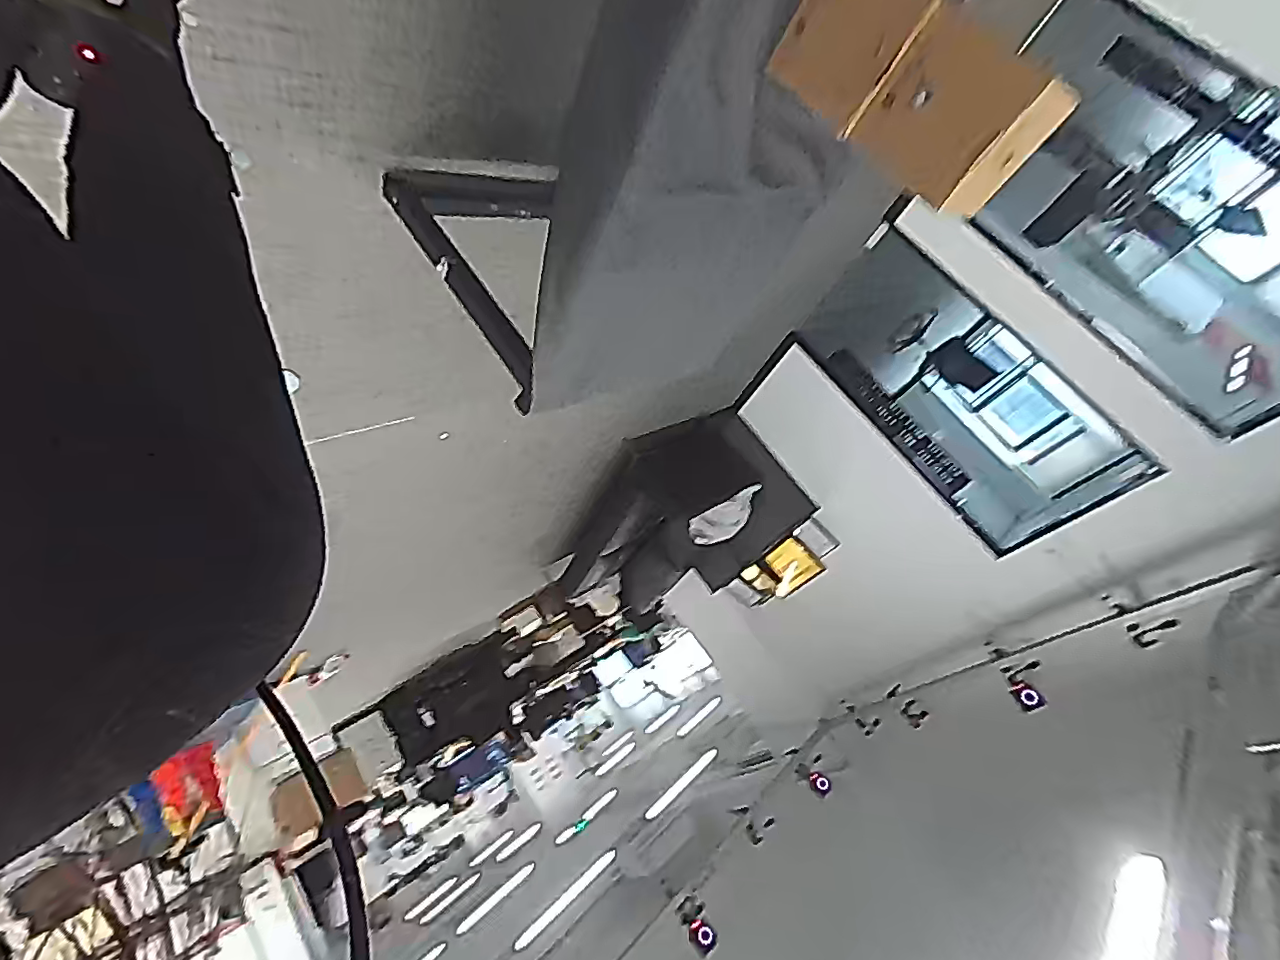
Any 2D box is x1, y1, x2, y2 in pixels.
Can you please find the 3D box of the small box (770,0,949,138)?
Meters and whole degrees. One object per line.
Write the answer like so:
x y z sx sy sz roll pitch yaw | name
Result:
0.319 -0.603 0.764 0.179 0.176 0.168 -22 159 -44 | small box

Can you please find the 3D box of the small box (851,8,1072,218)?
0.426 -0.482 0.728 0.179 0.176 0.168 -22 158 -42 | small box
